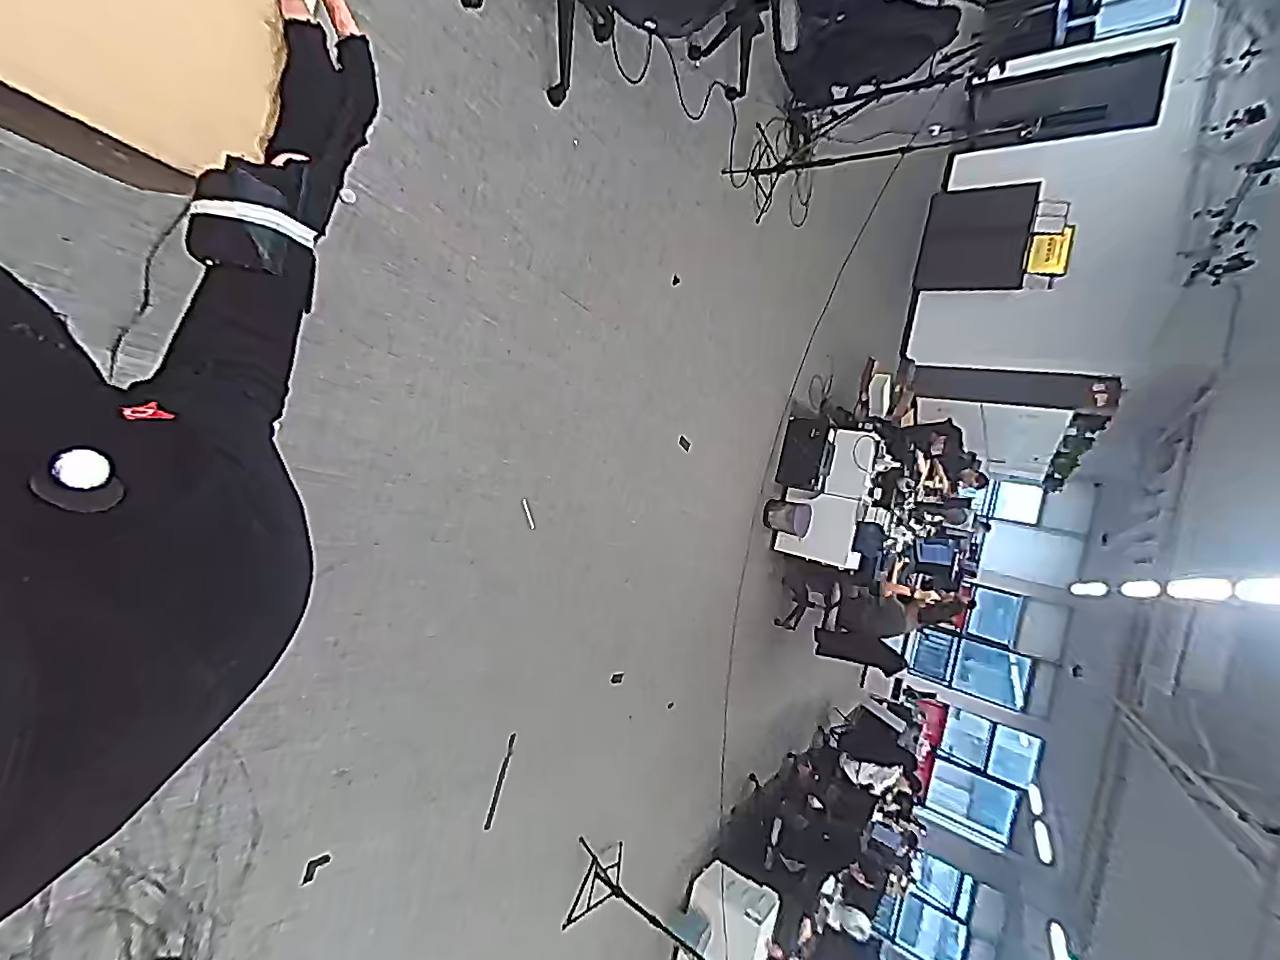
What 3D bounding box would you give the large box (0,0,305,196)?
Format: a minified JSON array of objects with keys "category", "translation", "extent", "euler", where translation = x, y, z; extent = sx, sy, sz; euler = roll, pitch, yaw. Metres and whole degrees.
[{"category":"large box","translation":[-0.484,-0.438,0.331],"extent":[0.408,0.320,0.320],"euler":[14,98,-58]}]
